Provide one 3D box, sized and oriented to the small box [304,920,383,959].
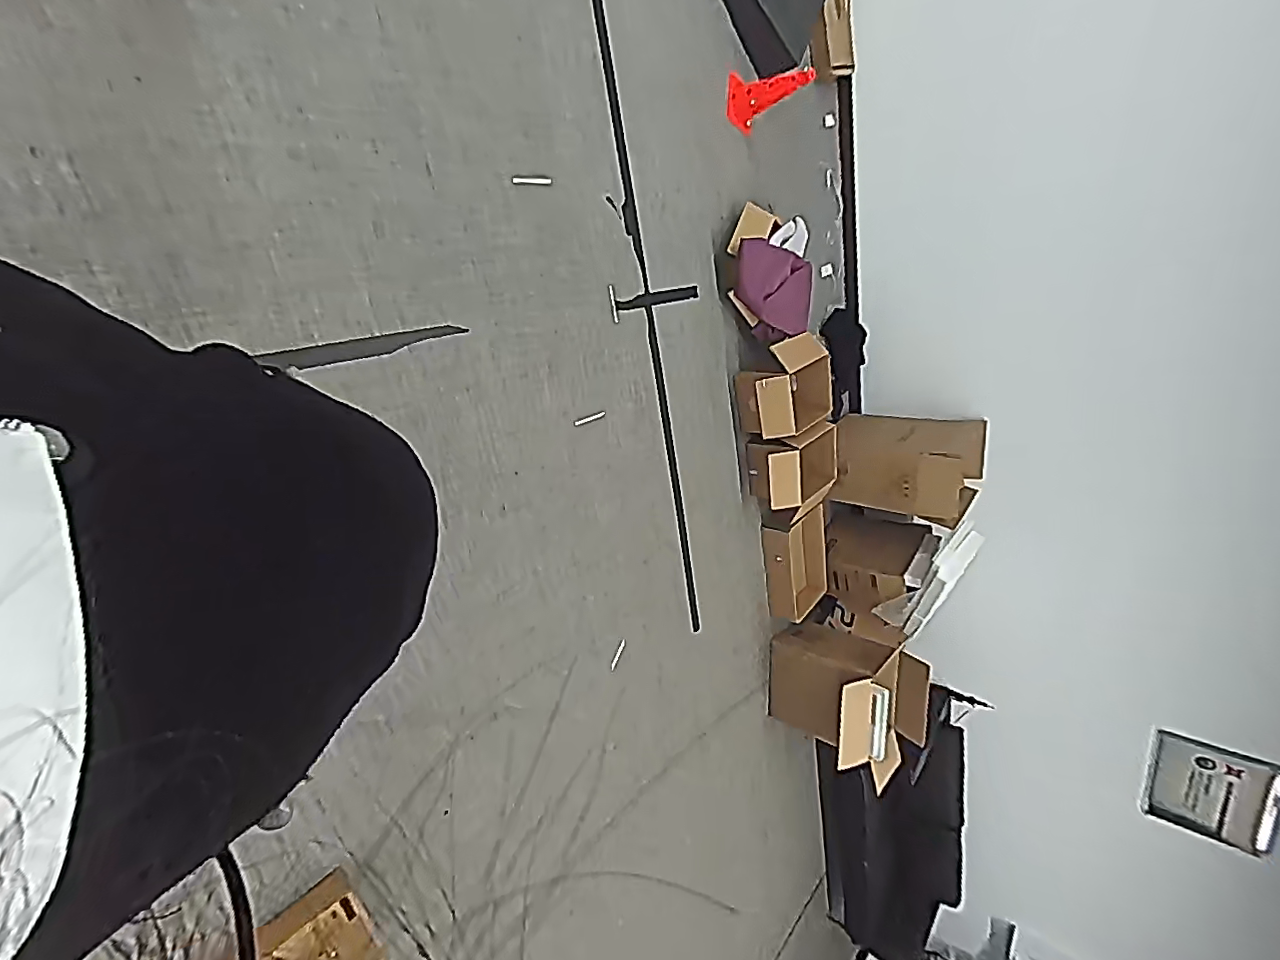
[{"bbox_3d":[-0.755,1.306,1.399,0.168,0.176,0.179,-29,117,-41],"label":"small box"}]
